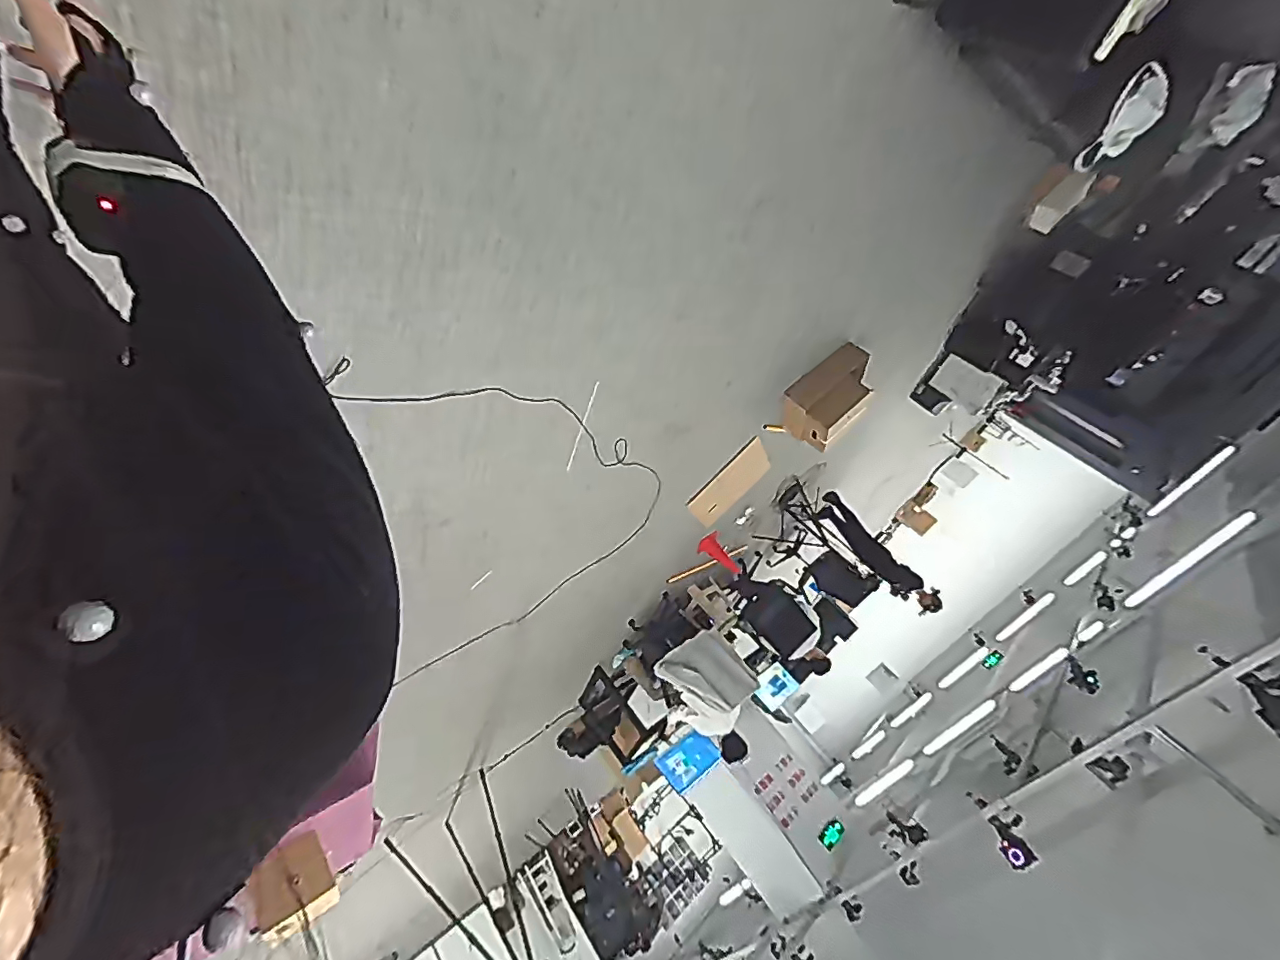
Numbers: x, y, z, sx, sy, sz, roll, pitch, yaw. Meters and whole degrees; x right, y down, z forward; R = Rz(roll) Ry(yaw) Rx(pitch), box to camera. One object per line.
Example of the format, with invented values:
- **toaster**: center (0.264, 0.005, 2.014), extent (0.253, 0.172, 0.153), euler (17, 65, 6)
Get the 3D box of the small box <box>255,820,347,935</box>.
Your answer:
- **small box**: center (-0.941, 1.098, 1.500), extent (0.179, 0.176, 0.168), euler (-21, 145, -39)
